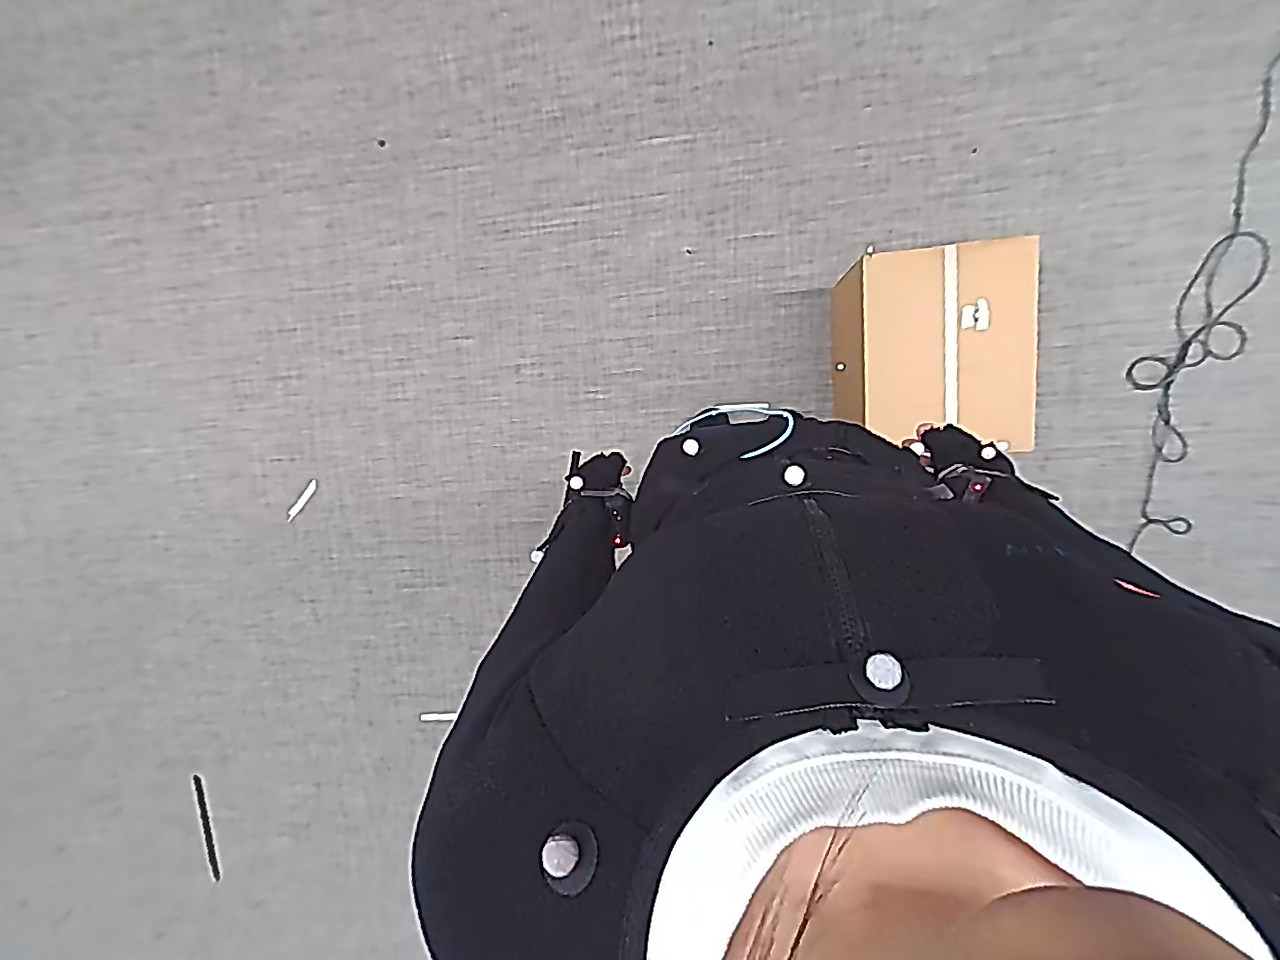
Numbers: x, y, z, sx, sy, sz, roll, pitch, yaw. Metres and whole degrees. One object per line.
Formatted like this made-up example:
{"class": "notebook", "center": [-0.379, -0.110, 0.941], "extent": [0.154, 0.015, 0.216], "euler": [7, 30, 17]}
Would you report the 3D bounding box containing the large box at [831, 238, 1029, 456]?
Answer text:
{"class": "large box", "center": [0.621, -0.270, 1.214], "extent": [0.320, 0.320, 0.408], "euler": [-3, 96, 8]}
